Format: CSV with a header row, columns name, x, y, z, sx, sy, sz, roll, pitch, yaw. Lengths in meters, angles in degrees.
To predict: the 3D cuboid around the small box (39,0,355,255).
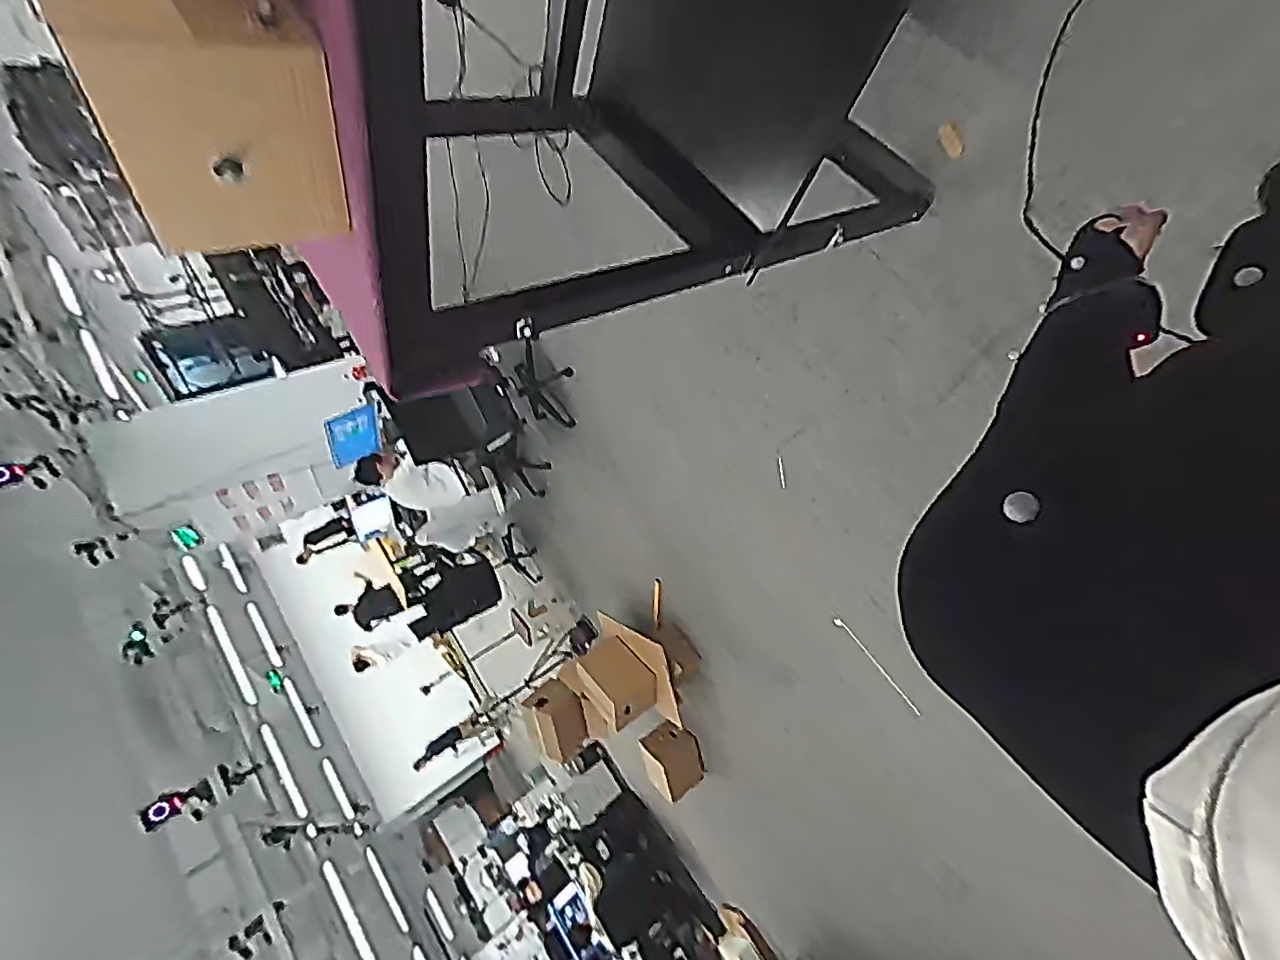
name,x,y,z,sx,sy,sz,roll,pitch,yaw
small box,-0.385,-0.342,0.488,0.168,0.176,0.179,53,148,16
